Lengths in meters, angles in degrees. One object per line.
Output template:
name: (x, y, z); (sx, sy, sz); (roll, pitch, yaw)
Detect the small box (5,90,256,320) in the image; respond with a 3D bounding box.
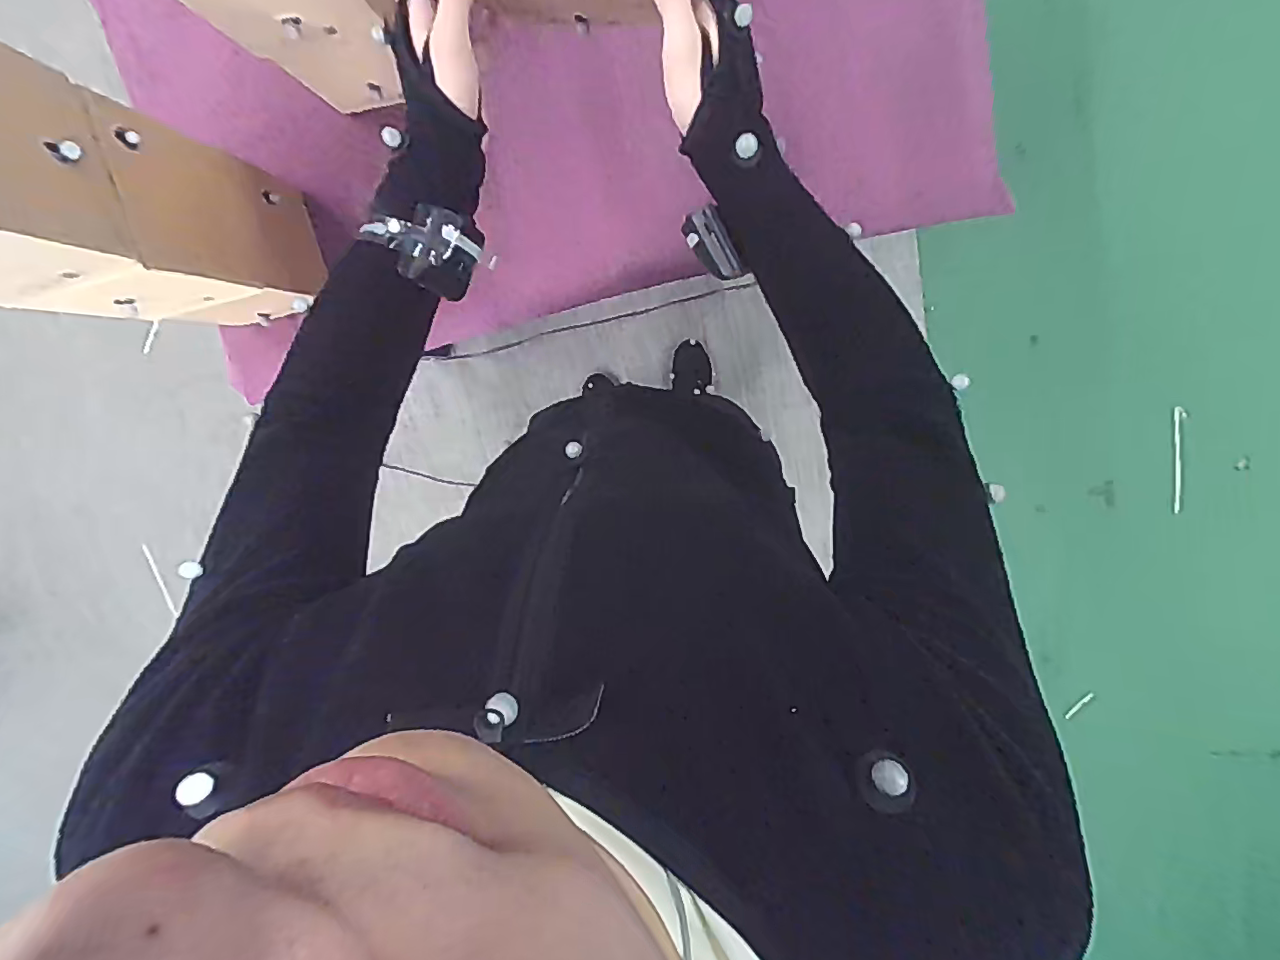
small box: (-0.586, -0.286, 0.611); (0.168, 0.176, 0.179); (-12, 100, 6)

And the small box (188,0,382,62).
small box: (-0.391, -0.570, 0.538); (0.168, 0.176, 0.179); (-9, 103, 5)

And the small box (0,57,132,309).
small box: (-0.598, -0.258, 0.449); (0.168, 0.176, 0.179); (-14, 99, 7)

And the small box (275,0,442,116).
small box: (-0.380, -0.612, 0.696); (0.168, 0.176, 0.179); (-8, 103, 4)

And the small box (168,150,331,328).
small box: (-0.585, -0.326, 0.768); (0.168, 0.176, 0.179); (-13, 101, 5)
